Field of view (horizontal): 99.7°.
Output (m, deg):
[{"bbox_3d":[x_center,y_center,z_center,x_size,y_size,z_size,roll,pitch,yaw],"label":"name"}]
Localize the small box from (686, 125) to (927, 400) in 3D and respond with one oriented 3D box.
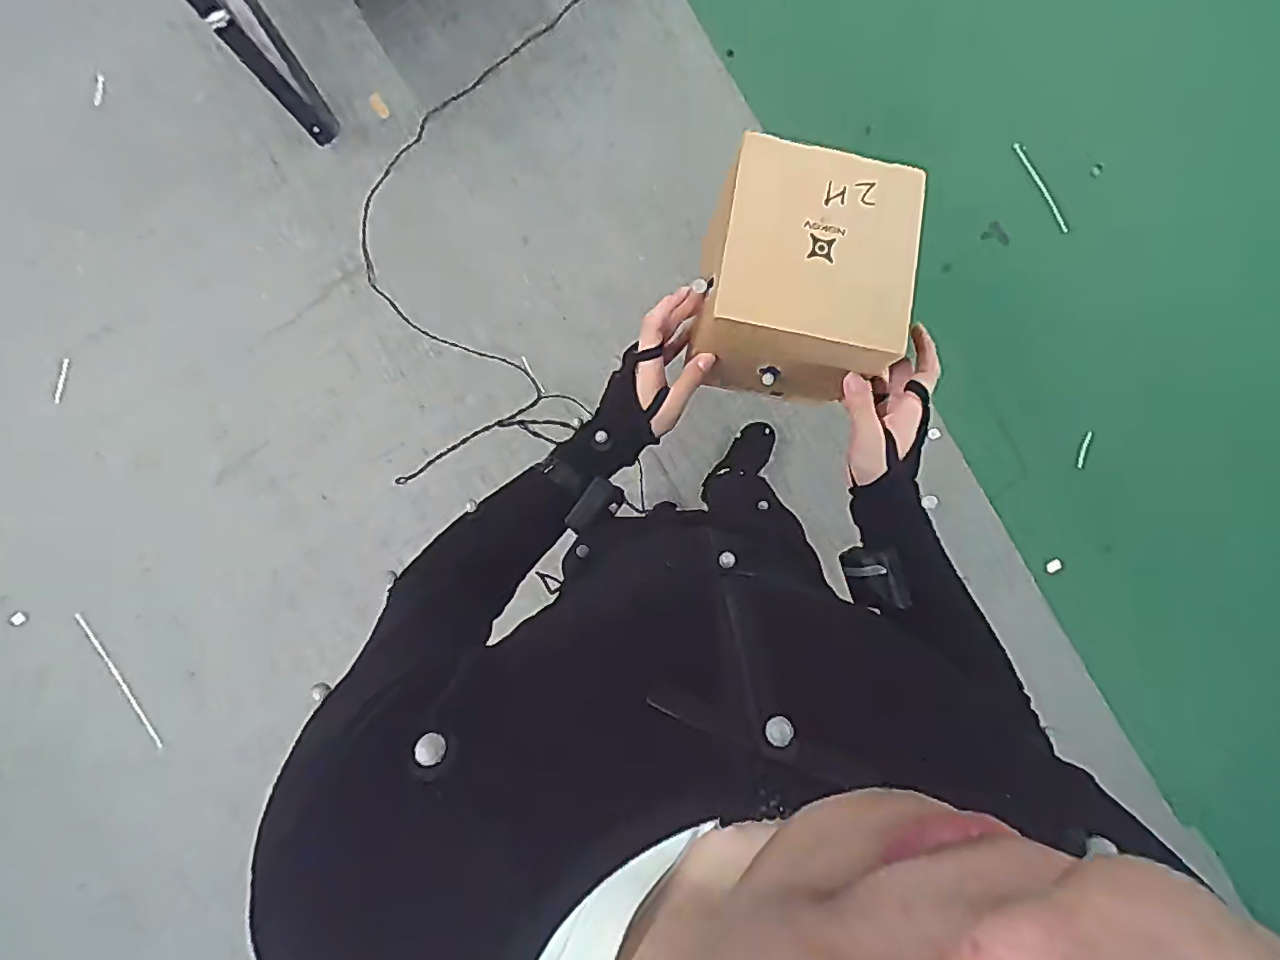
[{"bbox_3d":[0.145,-0.192,0.528,0.168,0.176,0.179,11,81,-3],"label":"small box"}]
